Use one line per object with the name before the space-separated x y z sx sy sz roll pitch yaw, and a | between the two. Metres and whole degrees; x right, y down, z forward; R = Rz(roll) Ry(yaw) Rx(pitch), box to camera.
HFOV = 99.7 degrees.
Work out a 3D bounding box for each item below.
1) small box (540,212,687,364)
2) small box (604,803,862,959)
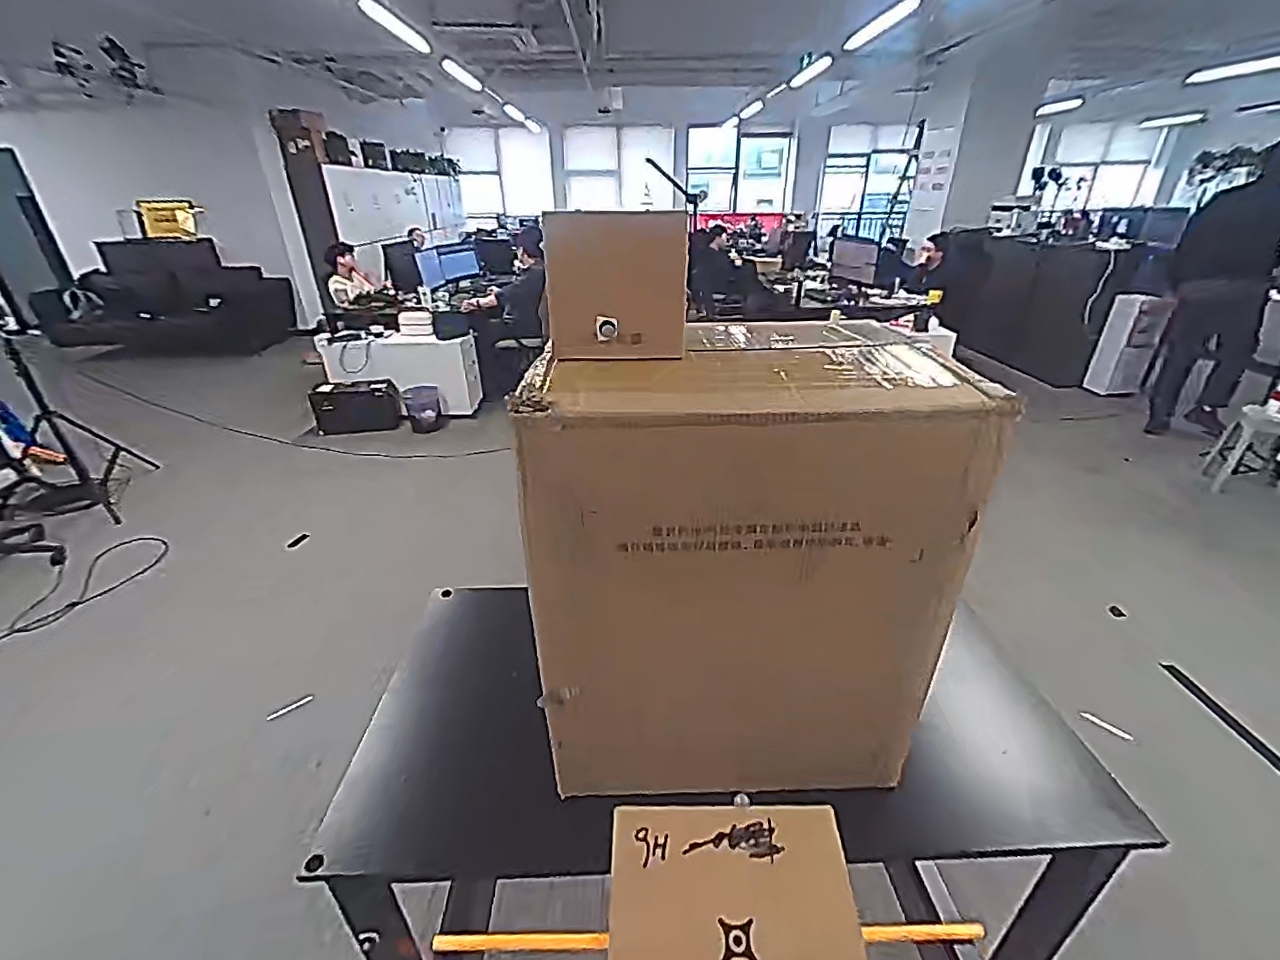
small box | -0.033 -0.254 0.706 0.168 0.176 0.179 -3 27 -3
small box | 0.062 0.360 0.398 0.168 0.176 0.179 -1 43 2
